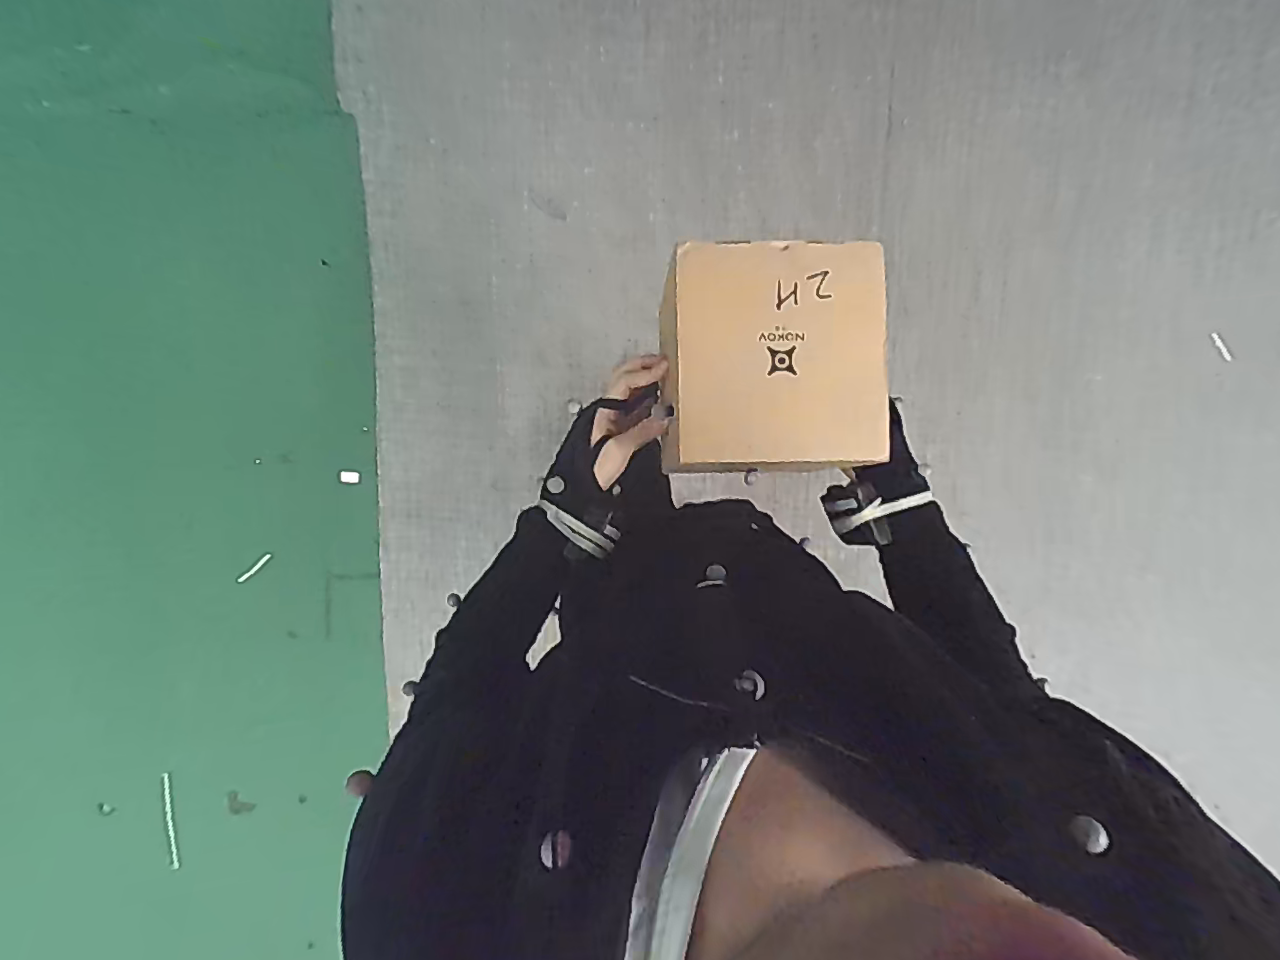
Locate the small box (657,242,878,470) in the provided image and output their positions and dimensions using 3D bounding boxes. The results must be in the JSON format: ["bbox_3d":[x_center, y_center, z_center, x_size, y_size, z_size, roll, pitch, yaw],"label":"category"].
[{"bbox_3d":[0.104,-0.099,0.506,0.168,0.176,0.179,0,88,-2],"label":"small box"}]
